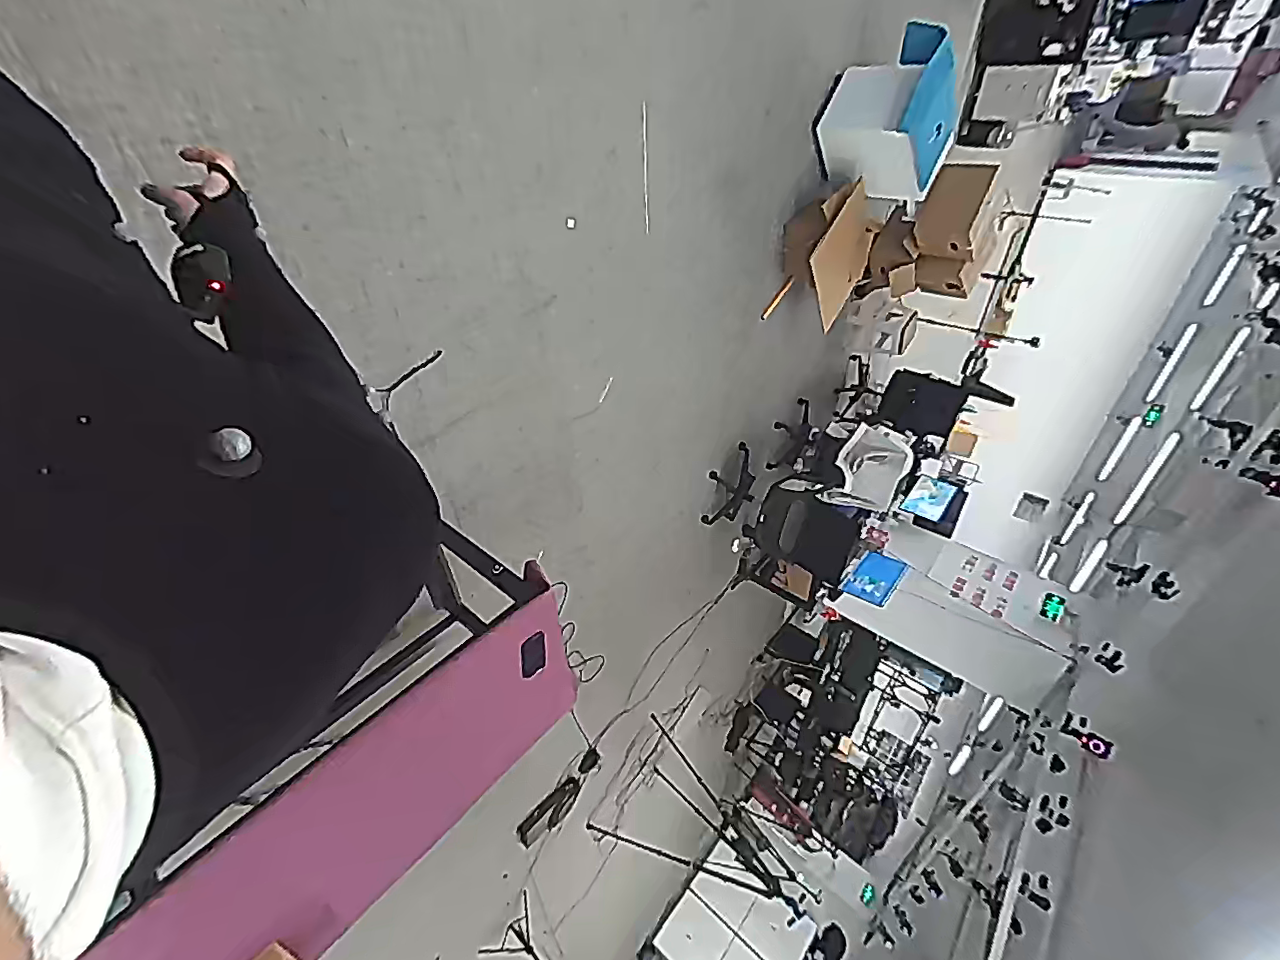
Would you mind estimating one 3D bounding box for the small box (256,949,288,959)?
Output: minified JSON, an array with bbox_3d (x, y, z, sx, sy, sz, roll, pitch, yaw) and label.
[{"bbox_3d":[-0.833,1.197,1.192,0.168,0.176,0.179,-36,138,-39],"label":"small box"}]
